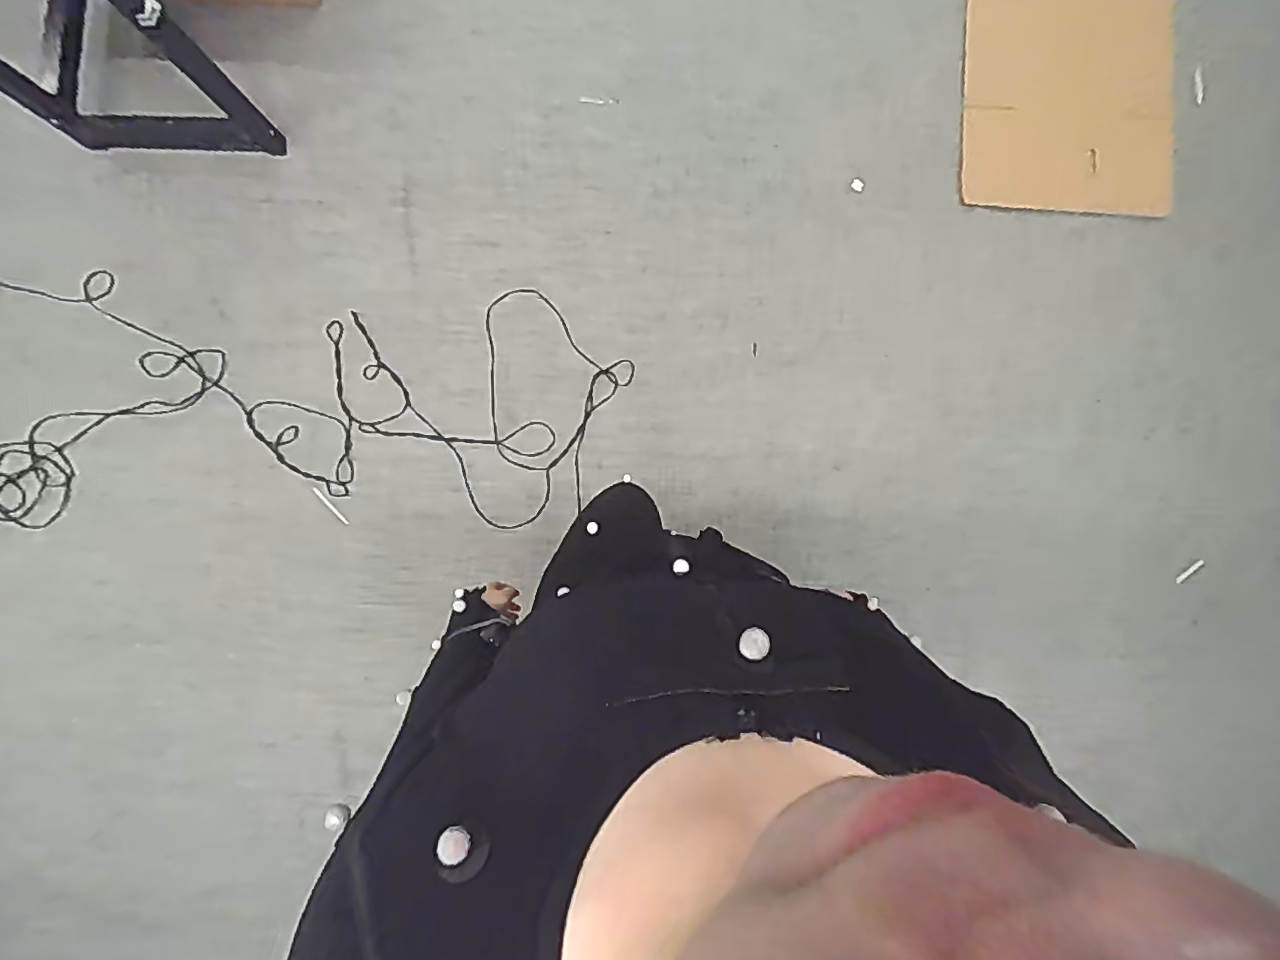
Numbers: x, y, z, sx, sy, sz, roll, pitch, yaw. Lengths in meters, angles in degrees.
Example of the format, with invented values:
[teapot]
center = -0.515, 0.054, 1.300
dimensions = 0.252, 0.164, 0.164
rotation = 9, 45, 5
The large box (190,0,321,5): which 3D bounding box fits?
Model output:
[large box]
center = -1.132, -1.561, 1.453
dimensions = 0.408, 0.320, 0.320
rotation = 2, 87, -1
